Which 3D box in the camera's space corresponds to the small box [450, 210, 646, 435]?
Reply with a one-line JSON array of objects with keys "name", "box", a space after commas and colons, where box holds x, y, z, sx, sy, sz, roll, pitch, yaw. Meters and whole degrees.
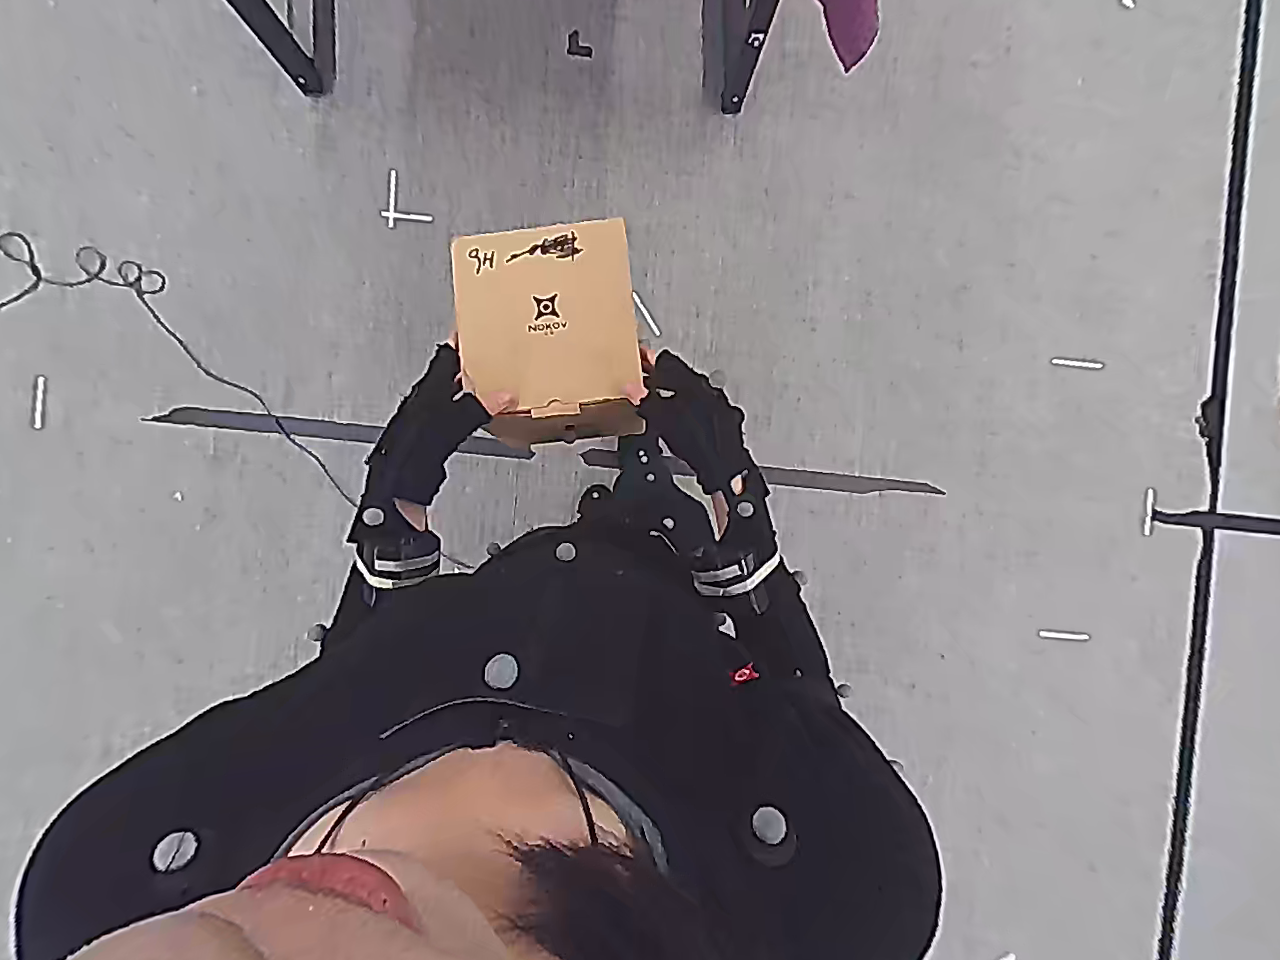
[{"name": "small box", "box": [-0.083, -0.146, 0.566, 0.168, 0.176, 0.179, -7, 85, 0]}]
